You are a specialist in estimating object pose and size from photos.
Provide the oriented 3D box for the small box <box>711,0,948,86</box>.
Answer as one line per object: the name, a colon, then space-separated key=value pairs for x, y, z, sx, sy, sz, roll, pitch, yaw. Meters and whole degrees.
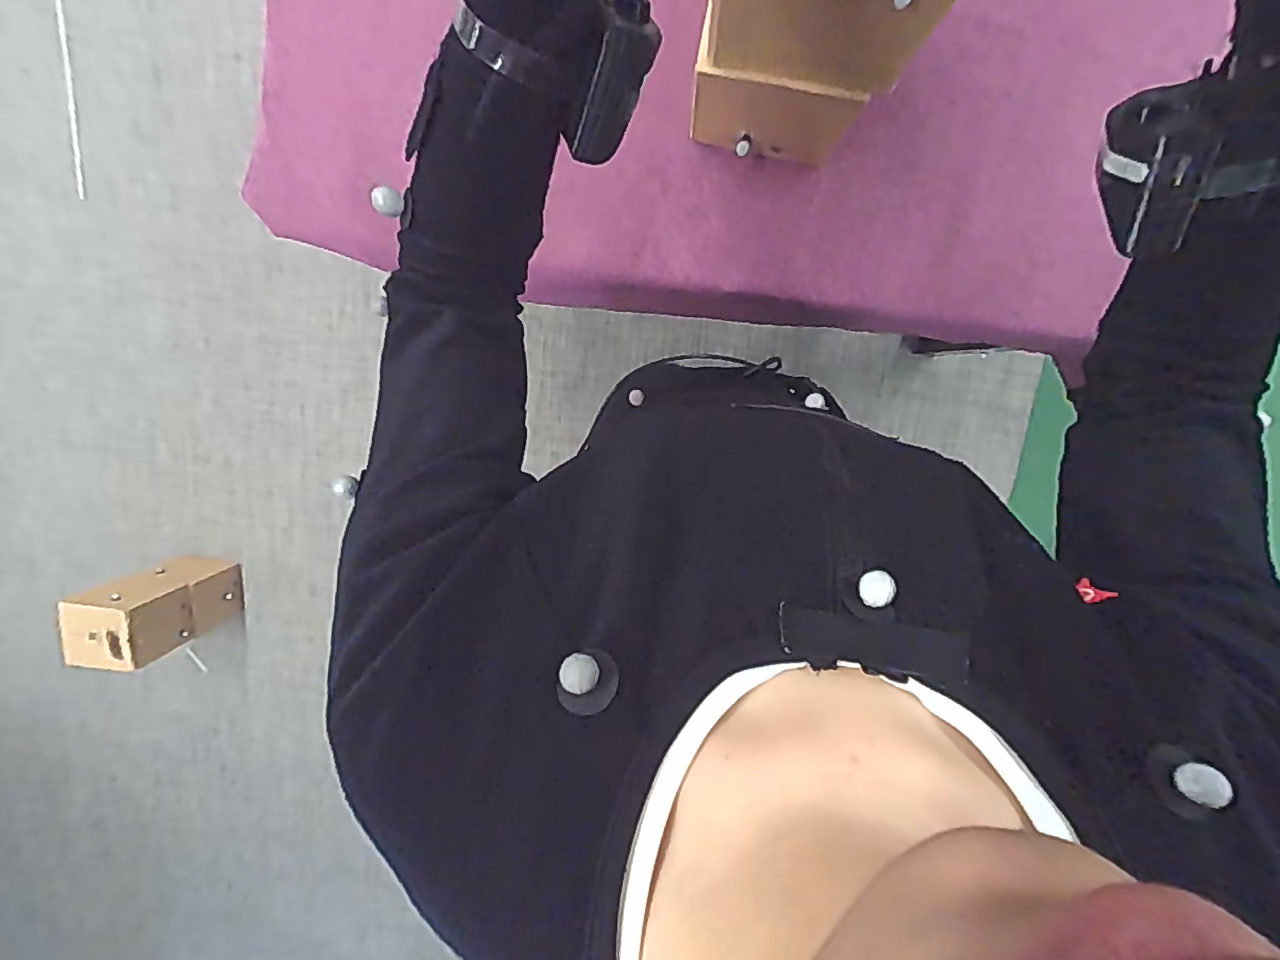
small box: x=0.153 y=-0.428 z=0.397 sx=0.179 sy=0.176 sz=0.168 roll=10 pitch=102 yaw=2

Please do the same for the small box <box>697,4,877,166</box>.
small box: x=0.155 y=-0.459 z=0.555 sx=0.168 sy=0.176 sz=0.179 roll=12 pitch=102 yaw=2

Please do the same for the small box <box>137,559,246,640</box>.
small box: x=-1.268 y=0.333 z=1.538 sx=0.179 sy=0.176 sz=0.168 roll=7 pitch=102 yaw=1

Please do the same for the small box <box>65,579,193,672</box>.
small box: x=-1.284 y=0.364 z=1.377 sx=0.179 sy=0.176 sz=0.168 roll=6 pitch=102 yaw=3
